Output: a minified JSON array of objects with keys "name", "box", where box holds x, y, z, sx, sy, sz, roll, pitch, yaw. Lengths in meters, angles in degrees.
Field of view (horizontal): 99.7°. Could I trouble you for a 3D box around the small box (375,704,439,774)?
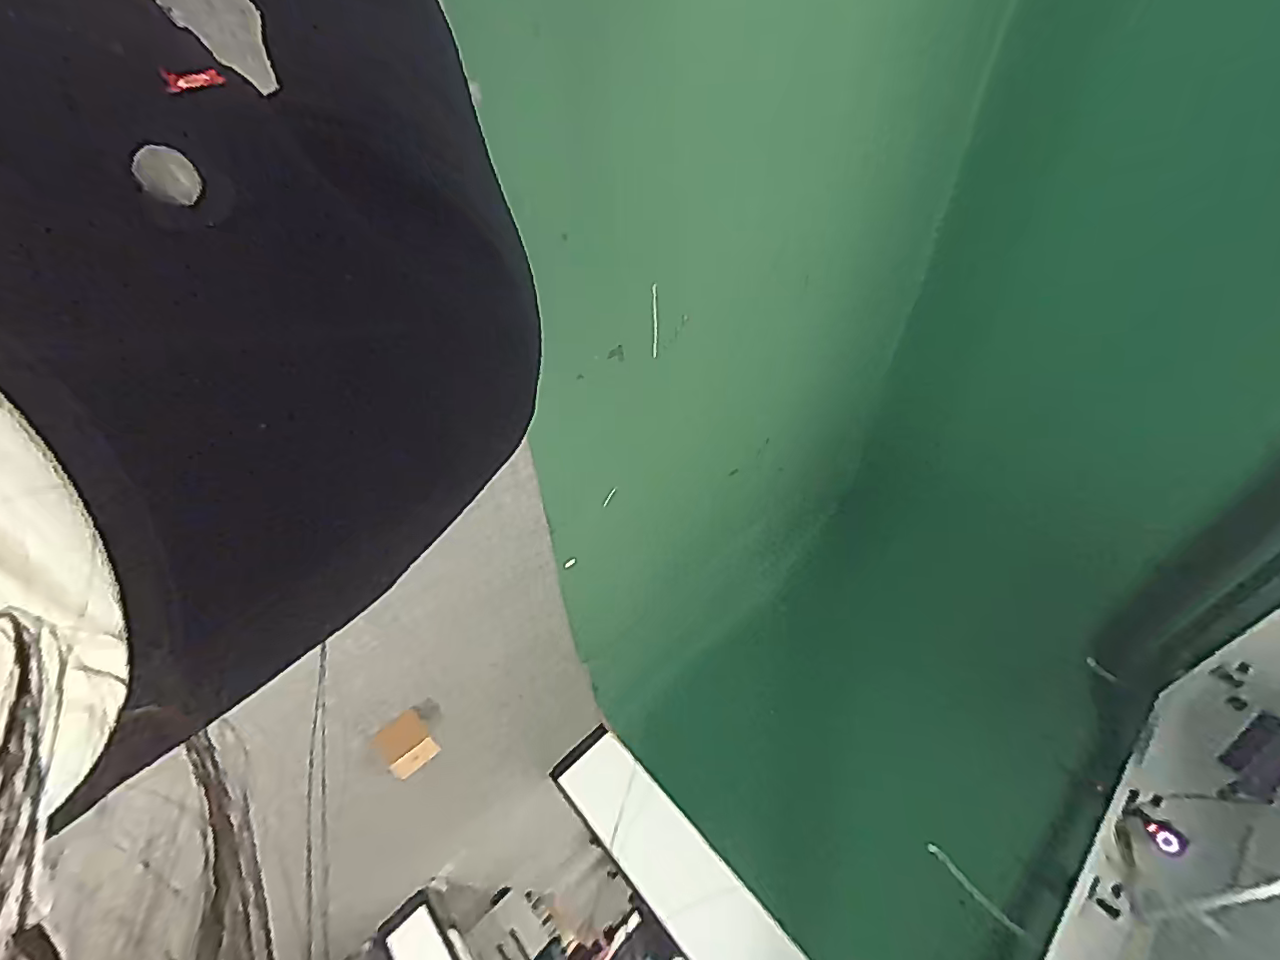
[{"name":"small box","box":[-0.988,1.088,2.279,0.179,0.176,0.168,-36,144,-28]}]
